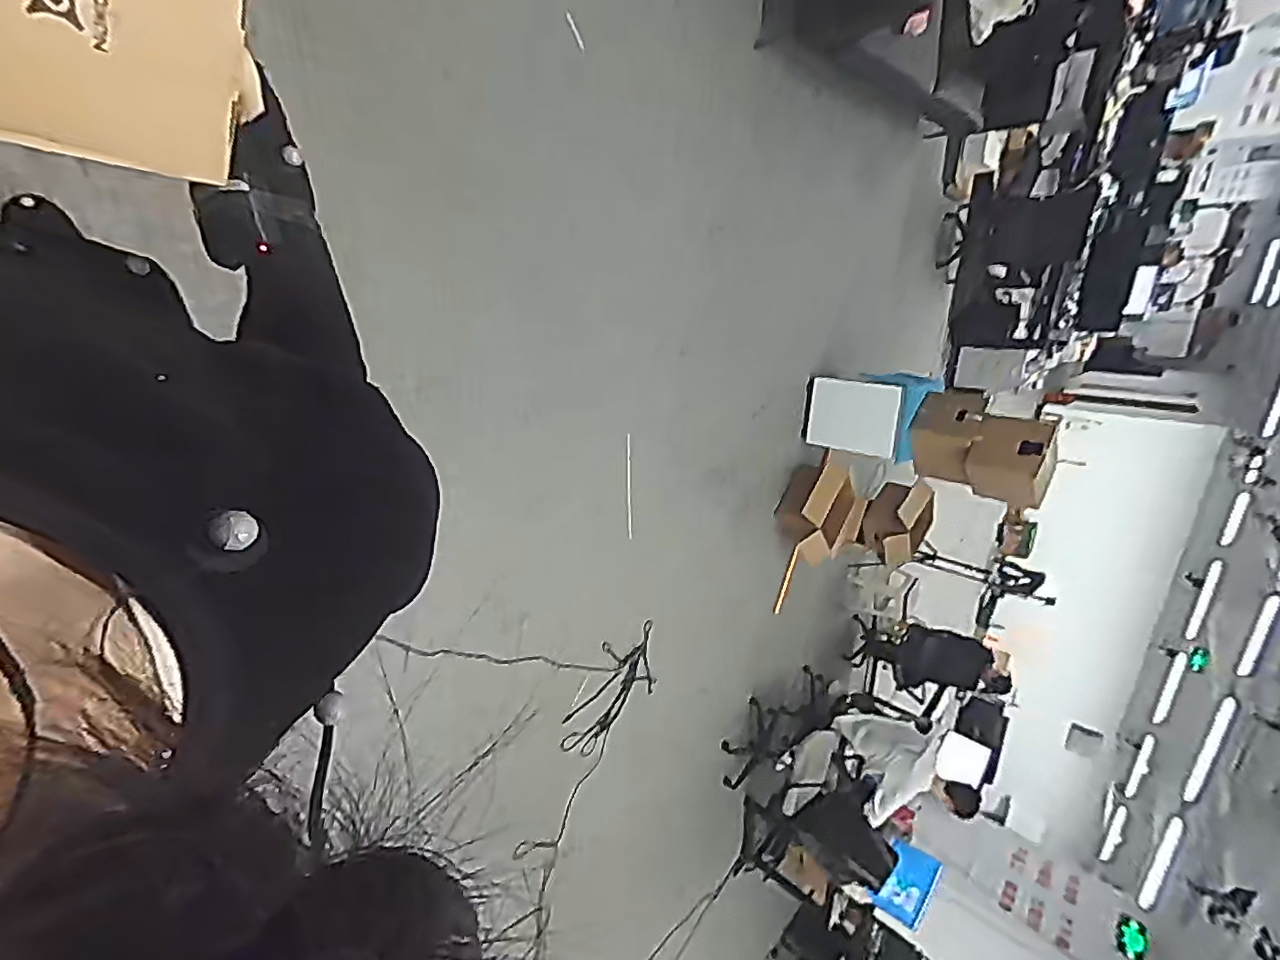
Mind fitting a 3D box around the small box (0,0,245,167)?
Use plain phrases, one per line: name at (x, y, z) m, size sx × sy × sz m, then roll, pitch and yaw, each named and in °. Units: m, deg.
small box at (-0.366, -0.319, 0.305) m, size 0.179 × 0.176 × 0.168 m, roll -23°, pitch 149°, yaw -57°
